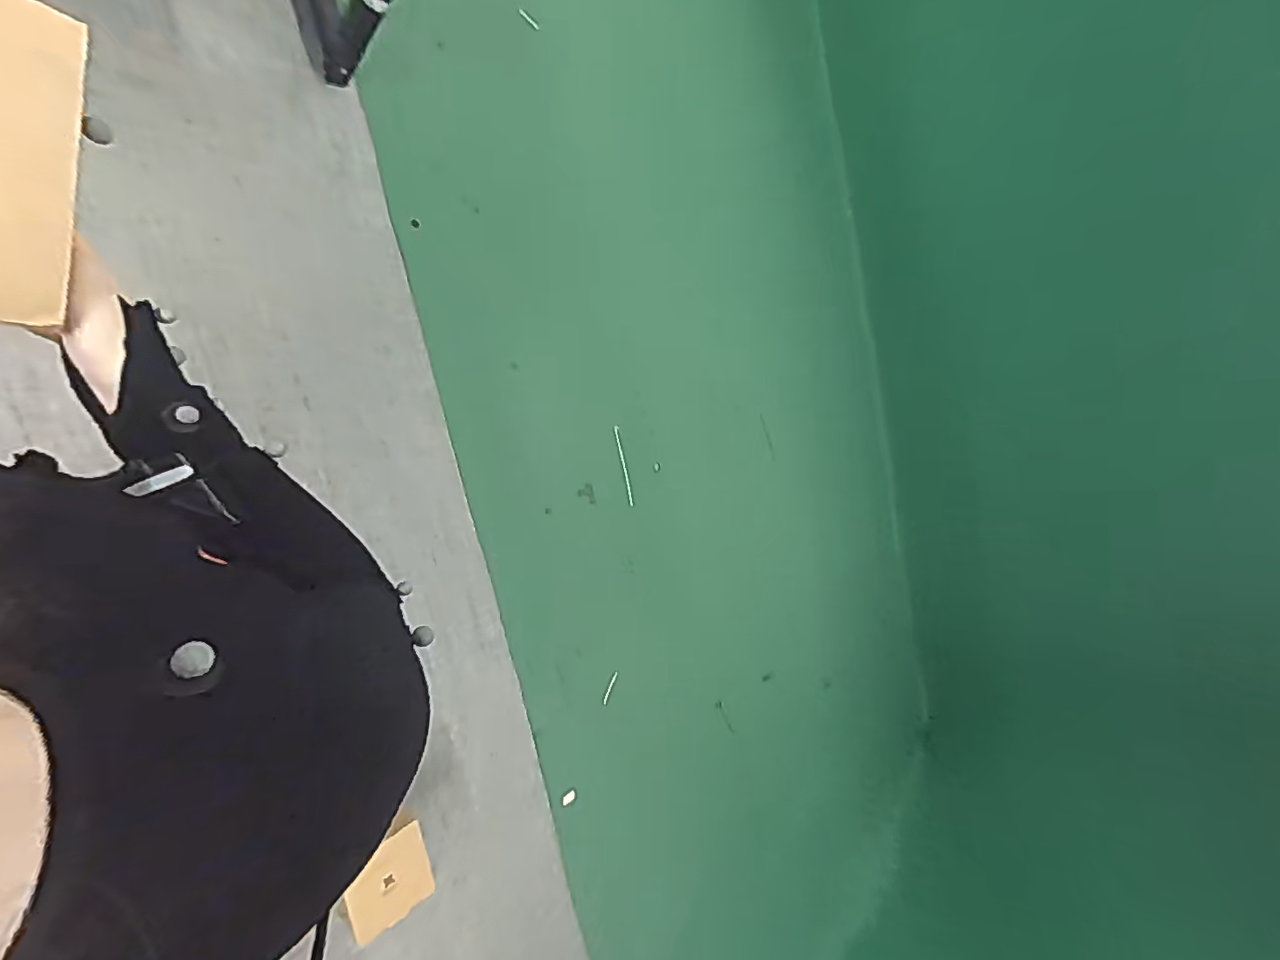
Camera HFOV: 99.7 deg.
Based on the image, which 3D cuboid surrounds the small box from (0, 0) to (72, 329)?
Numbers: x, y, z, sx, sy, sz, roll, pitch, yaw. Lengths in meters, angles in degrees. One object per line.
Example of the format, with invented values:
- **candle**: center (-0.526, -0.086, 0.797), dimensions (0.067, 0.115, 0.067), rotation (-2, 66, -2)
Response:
- **small box**: center (-0.455, -0.196, 0.302), dimensions (0.168, 0.176, 0.179), rotation (3, 101, -52)
